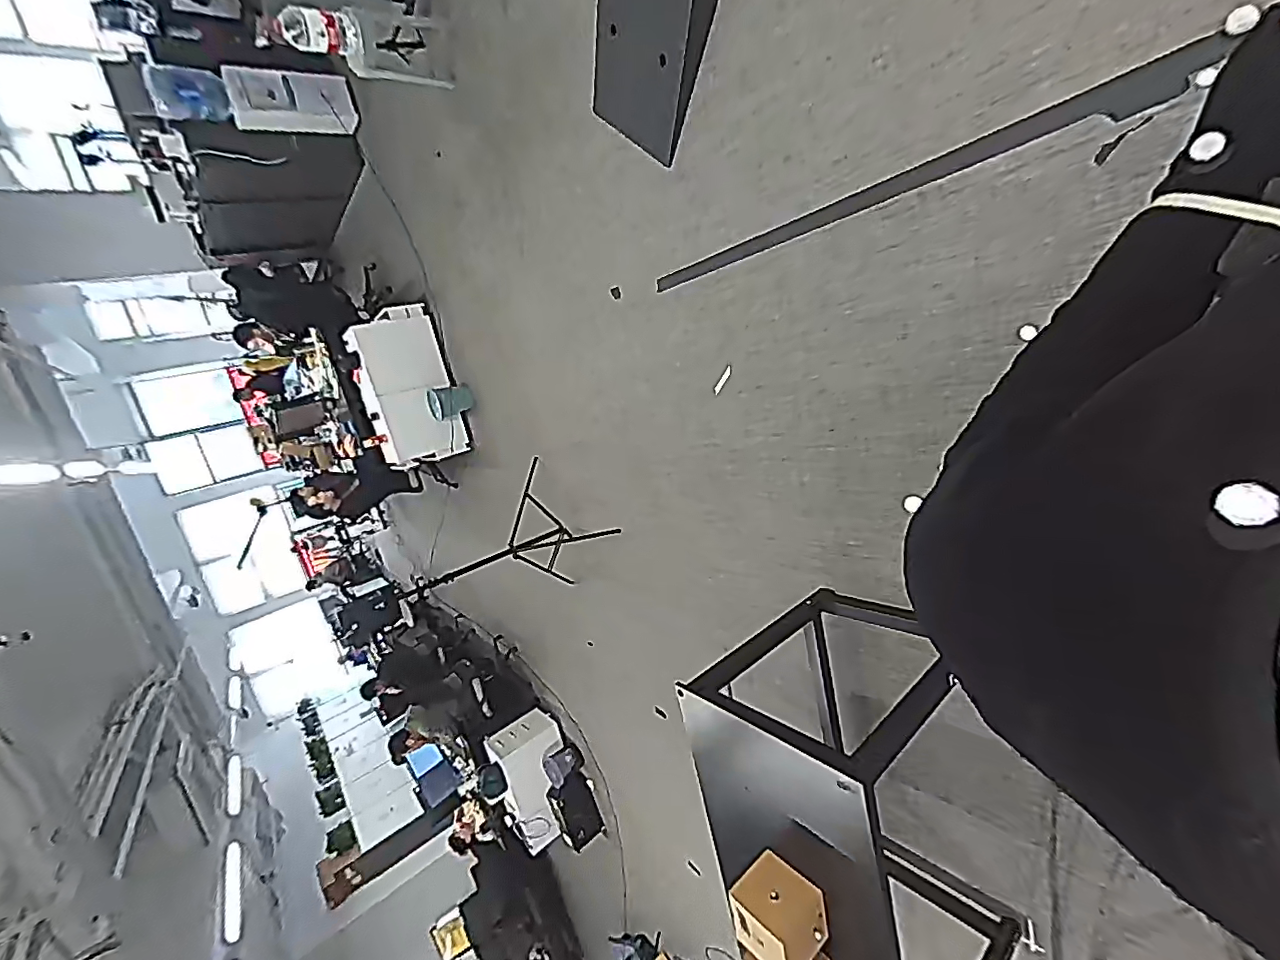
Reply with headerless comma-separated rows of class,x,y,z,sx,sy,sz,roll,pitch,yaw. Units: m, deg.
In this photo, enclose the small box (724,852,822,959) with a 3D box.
small box,0.346,1.119,1.403,0.179,0.176,0.168,9,116,50
